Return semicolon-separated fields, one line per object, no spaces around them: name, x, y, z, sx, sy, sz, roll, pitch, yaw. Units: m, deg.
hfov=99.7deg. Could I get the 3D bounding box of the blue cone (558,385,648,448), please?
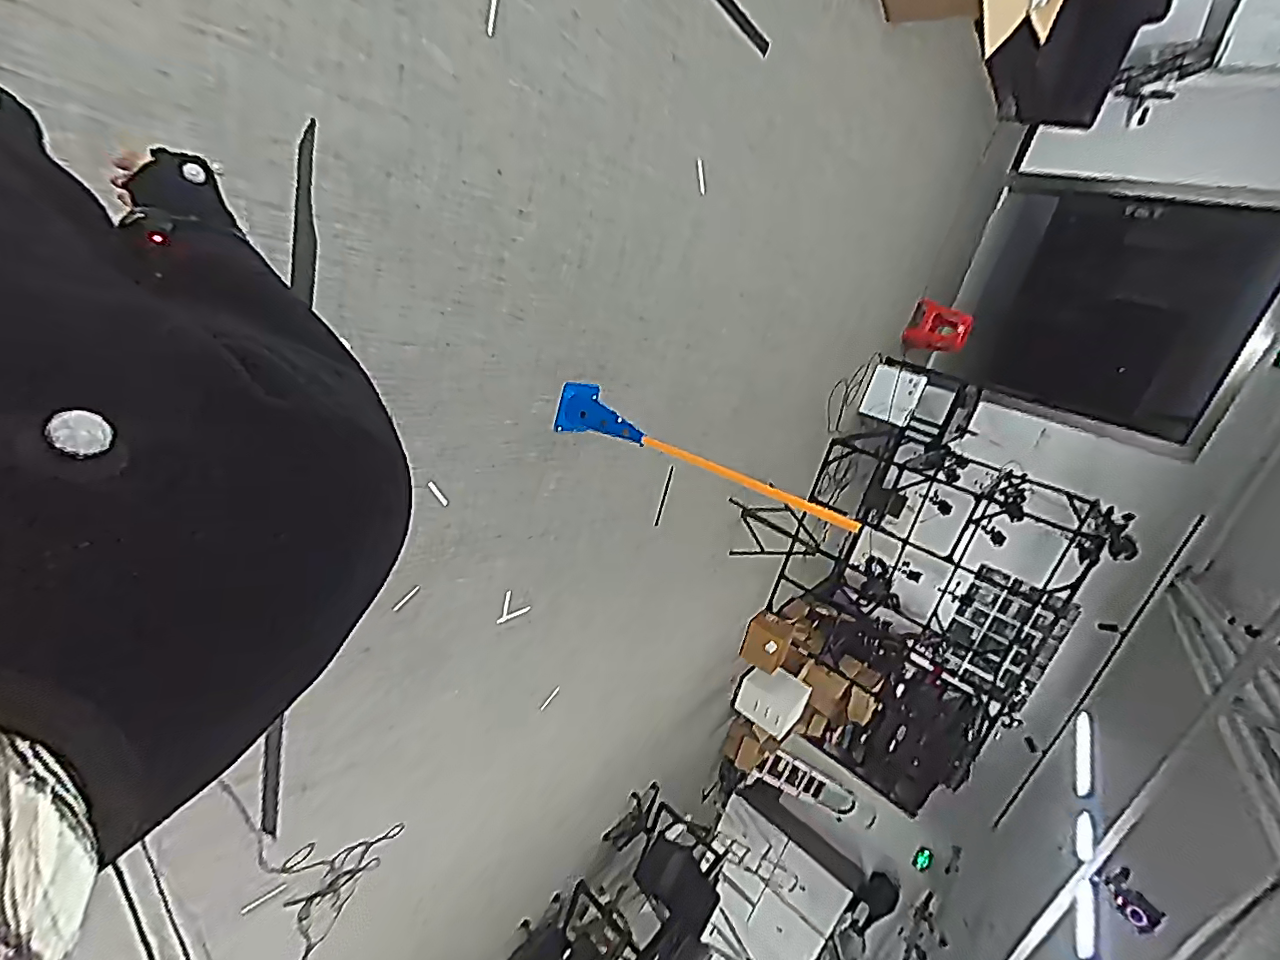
blue cone;-0.117;-0.215;2.047;0.193;0.380;0.192;-5;118;-53
